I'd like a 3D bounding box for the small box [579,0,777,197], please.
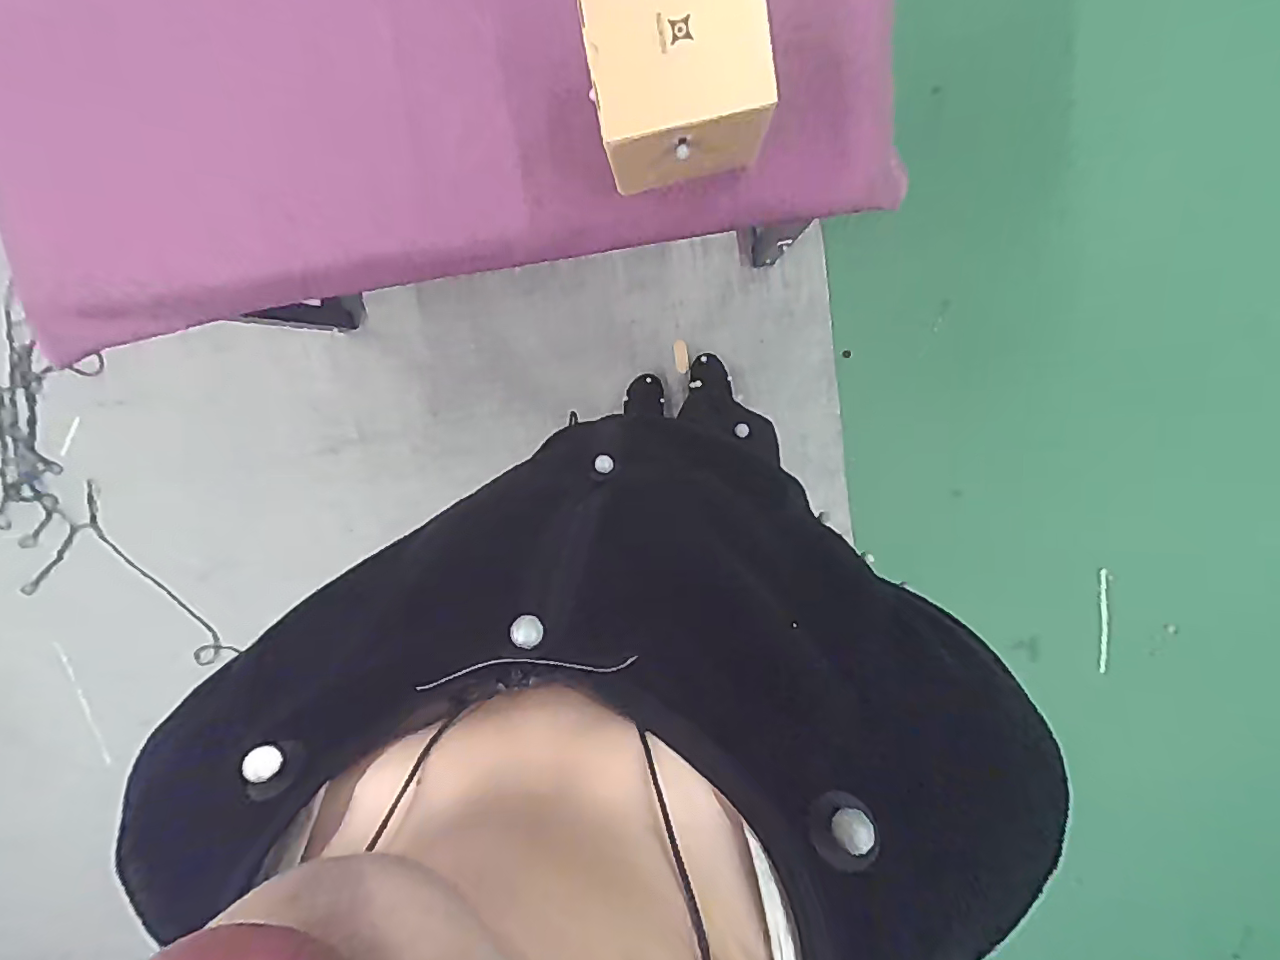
[{"bbox_3d":[0.041,-0.440,0.601,0.179,0.176,0.168,-10,101,7],"label":"small box"}]
